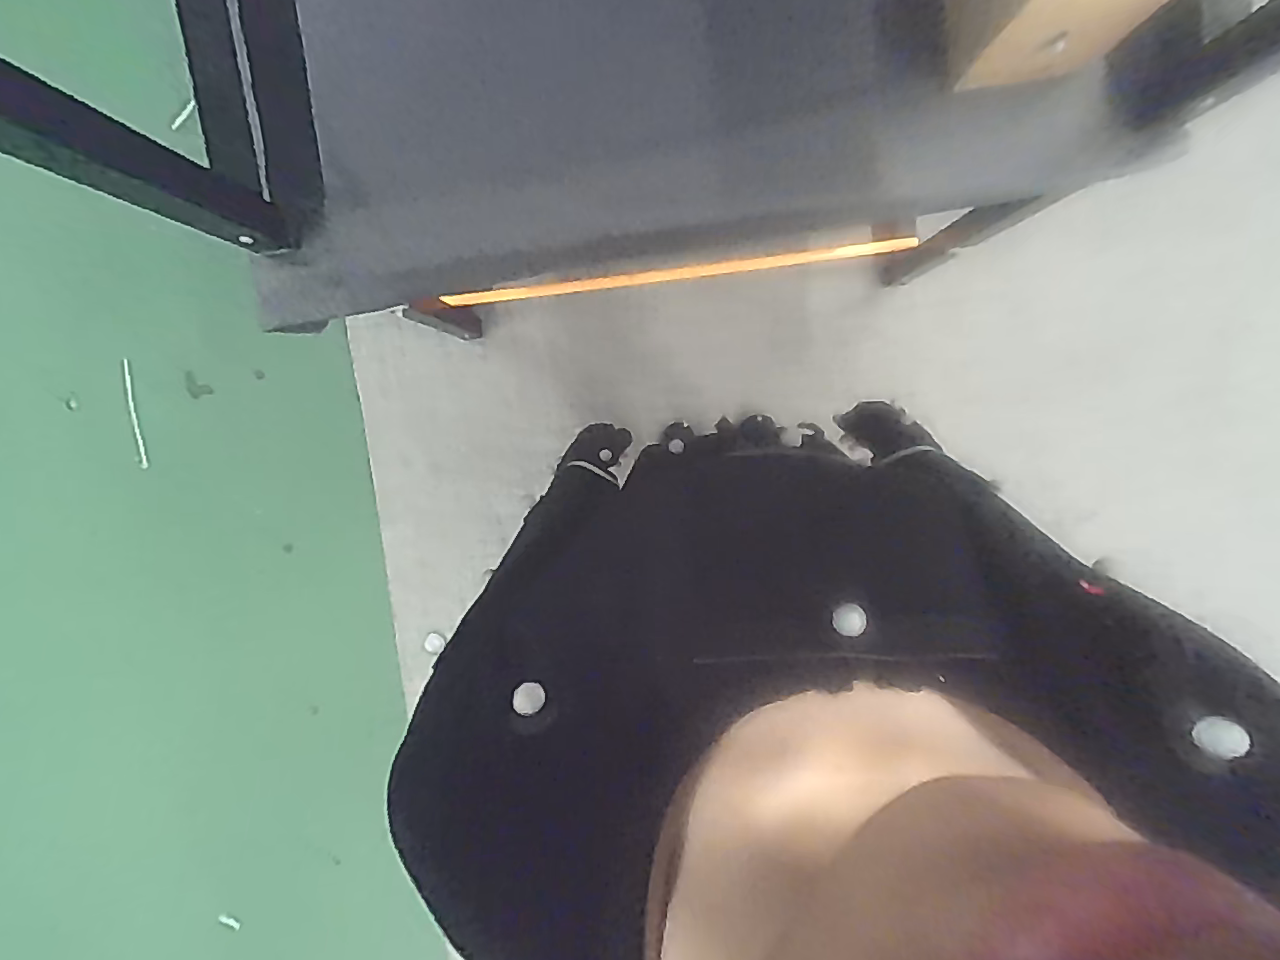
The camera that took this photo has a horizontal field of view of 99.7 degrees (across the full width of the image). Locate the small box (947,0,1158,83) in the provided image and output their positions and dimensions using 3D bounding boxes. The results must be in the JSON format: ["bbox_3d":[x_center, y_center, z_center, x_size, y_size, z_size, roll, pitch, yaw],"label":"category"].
[{"bbox_3d":[0.455,-0.568,0.582,0.168,0.176,0.179,-8,95,4],"label":"small box"}]
